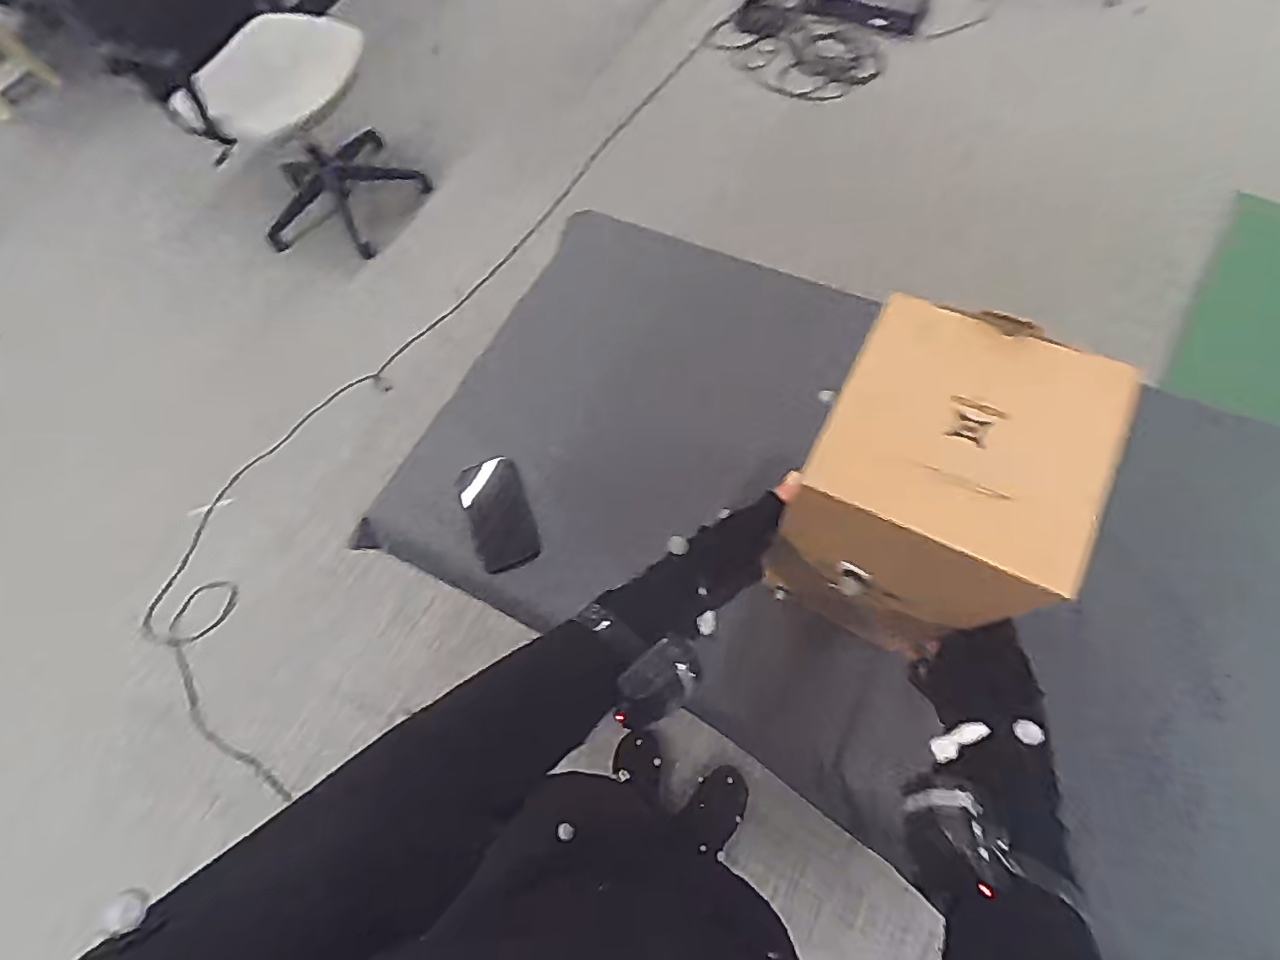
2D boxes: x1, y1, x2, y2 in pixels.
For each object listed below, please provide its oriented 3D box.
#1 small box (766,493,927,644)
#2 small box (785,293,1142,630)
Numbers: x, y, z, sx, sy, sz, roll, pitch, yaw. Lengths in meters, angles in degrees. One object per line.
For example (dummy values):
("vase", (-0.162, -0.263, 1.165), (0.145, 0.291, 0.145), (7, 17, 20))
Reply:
("small box", (0.246, 0.054, 0.576), (0.168, 0.176, 0.179), (27, 72, 17))
("small box", (0.227, -0.004, 0.426), (0.168, 0.176, 0.179), (26, 73, 17))
